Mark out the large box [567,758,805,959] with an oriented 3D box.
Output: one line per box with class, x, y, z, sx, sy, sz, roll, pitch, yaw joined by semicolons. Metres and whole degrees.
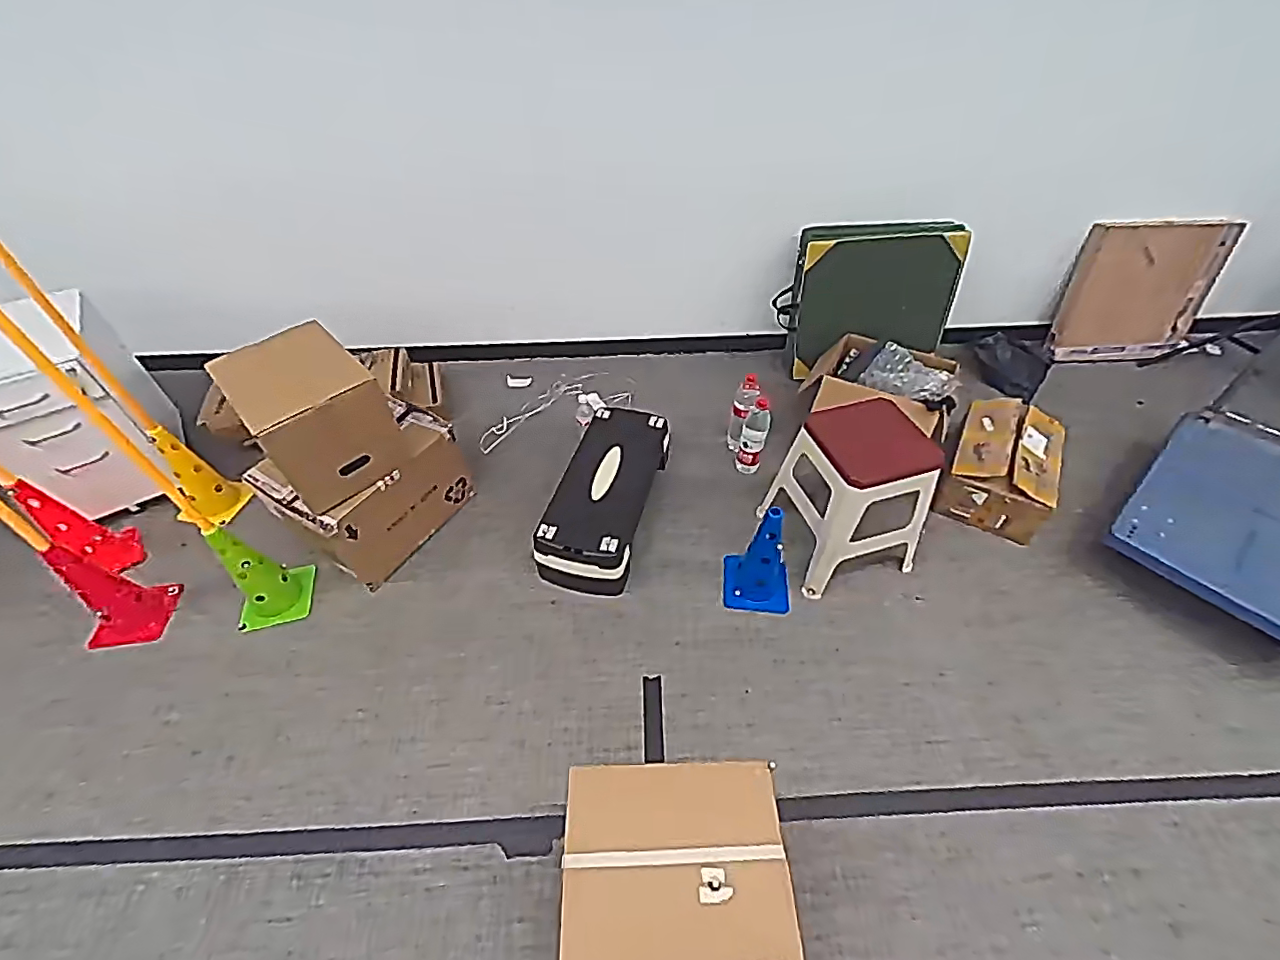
large box;0.068;0.784;1.093;0.408;0.320;0.320;-1;48;-2
